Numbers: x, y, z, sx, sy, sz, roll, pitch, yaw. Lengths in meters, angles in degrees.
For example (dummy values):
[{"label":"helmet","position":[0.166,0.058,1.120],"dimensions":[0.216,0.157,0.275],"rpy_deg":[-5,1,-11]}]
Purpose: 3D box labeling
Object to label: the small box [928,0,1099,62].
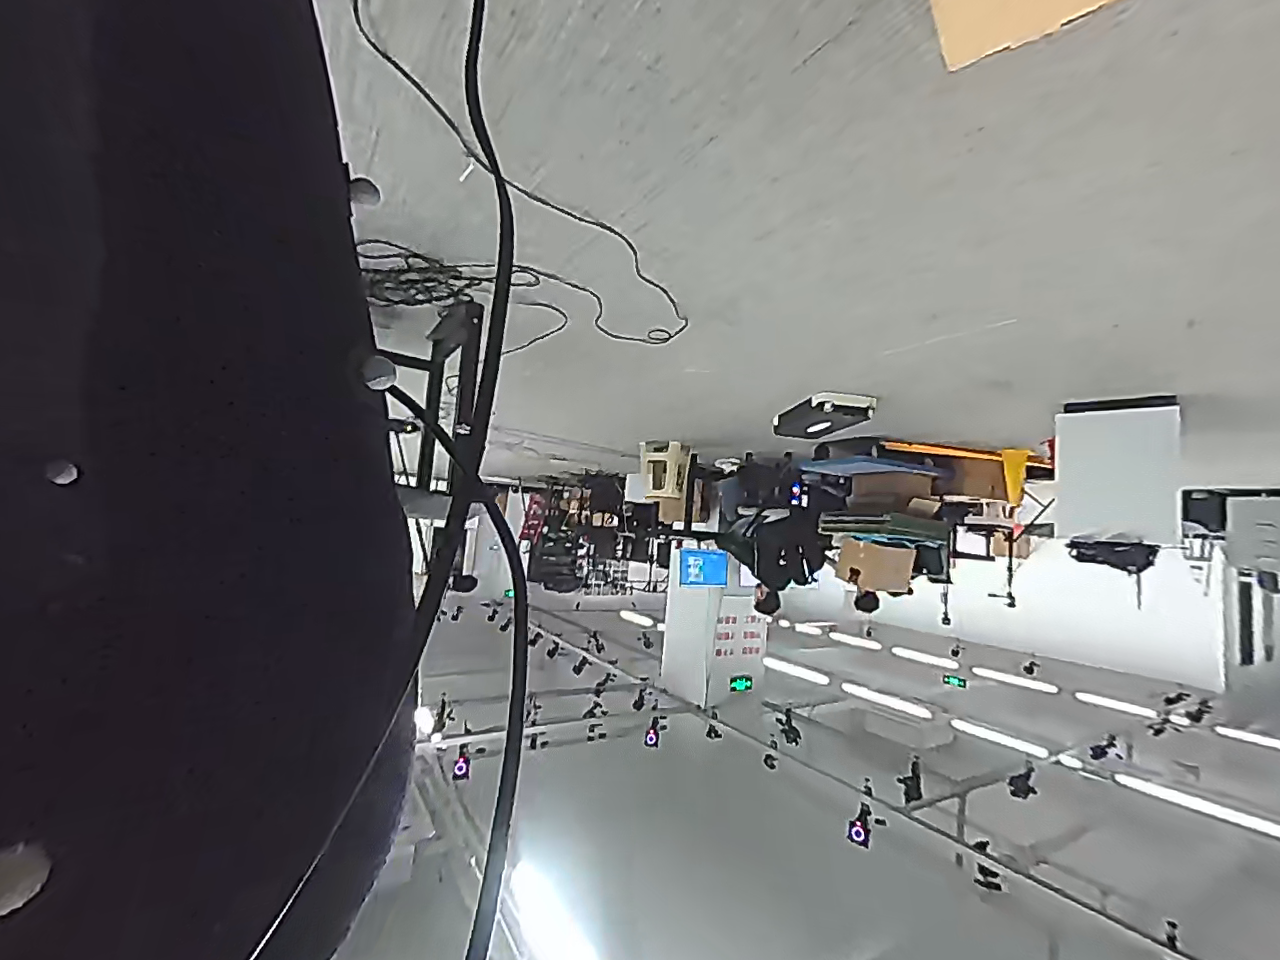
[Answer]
[{"label":"small box","position":[0.371,-0.574,0.520],"dimensions":[0.168,0.176,0.179],"rpy_deg":[-1,172,39]}]
